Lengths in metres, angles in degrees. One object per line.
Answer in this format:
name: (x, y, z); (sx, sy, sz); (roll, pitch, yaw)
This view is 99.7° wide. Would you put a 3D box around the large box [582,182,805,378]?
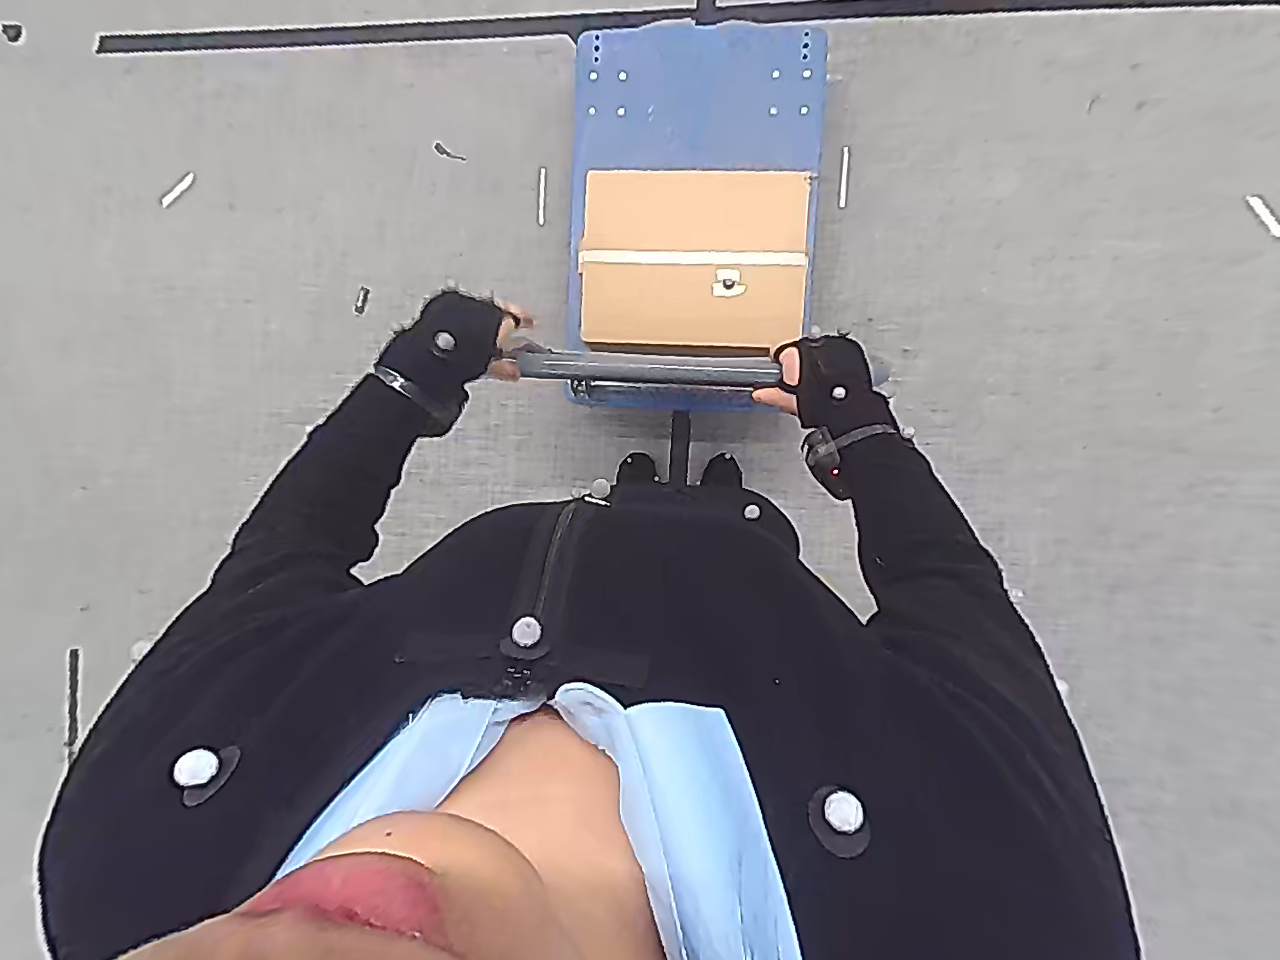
large box: (0.101, -0.391, 1.132); (0.408, 0.320, 0.320); (3, 94, 3)
